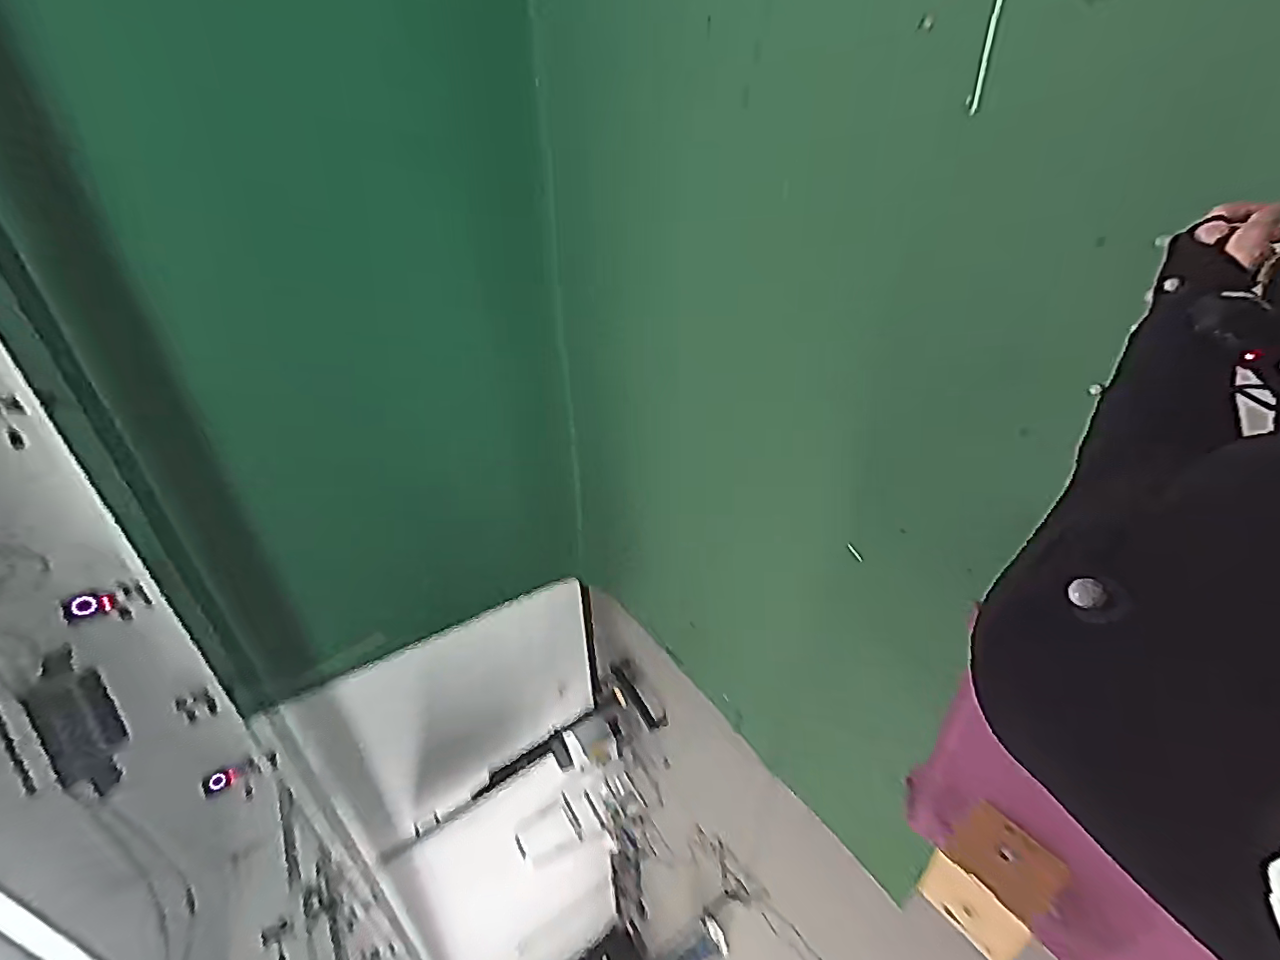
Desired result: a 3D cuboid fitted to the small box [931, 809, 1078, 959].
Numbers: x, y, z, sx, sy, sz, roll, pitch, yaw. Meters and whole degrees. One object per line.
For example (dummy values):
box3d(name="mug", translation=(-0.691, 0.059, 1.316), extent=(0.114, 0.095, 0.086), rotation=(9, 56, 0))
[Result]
box3d(name="small box", translation=(0.715, 0.798, 1.063), extent=(0.168, 0.176, 0.179), rotation=(34, 135, 47))
